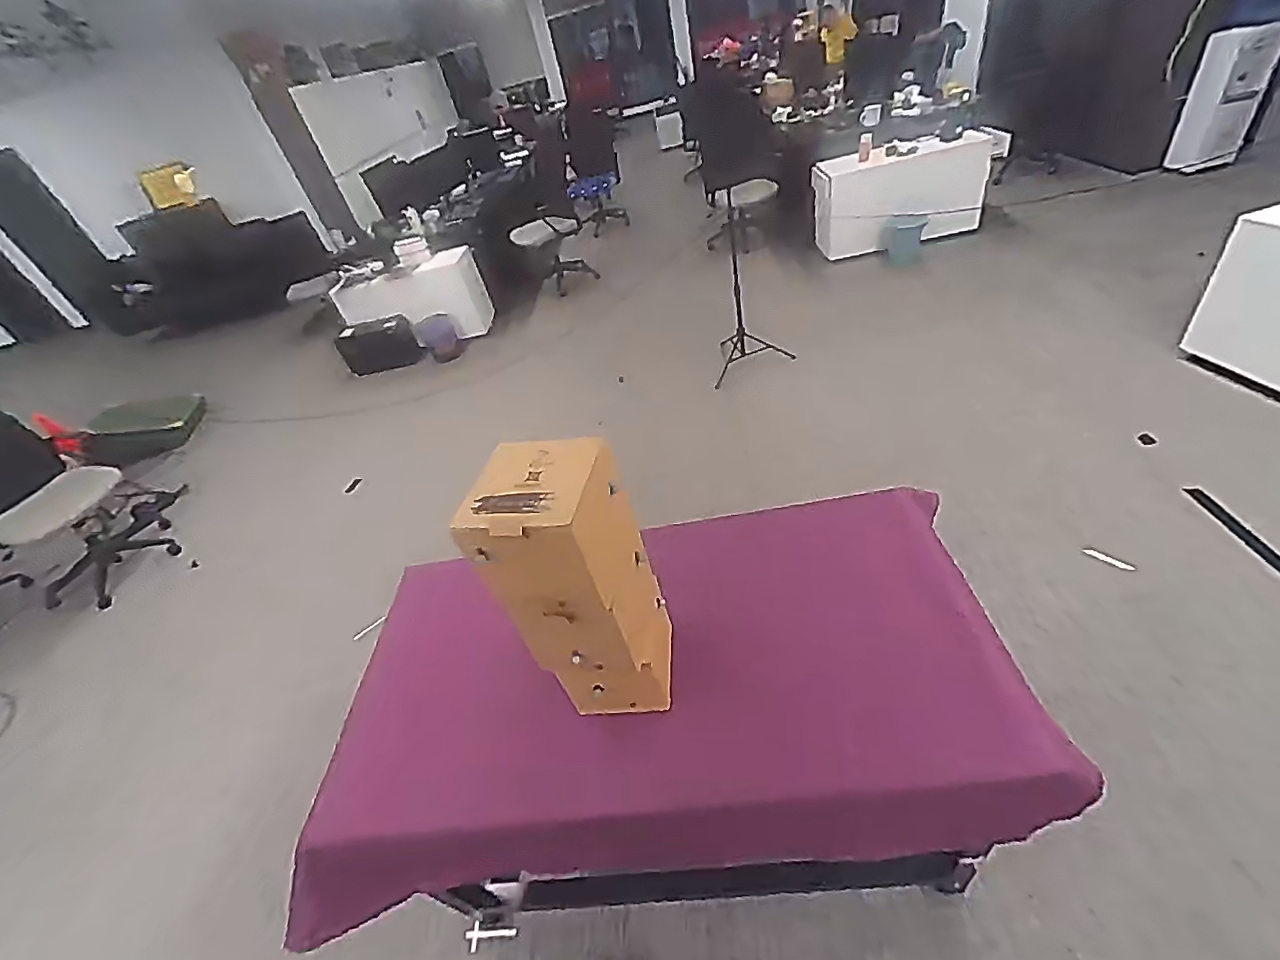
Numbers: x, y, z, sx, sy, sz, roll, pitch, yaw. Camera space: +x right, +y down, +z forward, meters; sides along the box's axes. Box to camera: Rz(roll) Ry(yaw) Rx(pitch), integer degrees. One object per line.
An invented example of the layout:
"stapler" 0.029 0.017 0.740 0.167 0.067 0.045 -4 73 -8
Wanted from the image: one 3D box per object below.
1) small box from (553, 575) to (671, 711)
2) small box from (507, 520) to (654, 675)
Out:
"small box" -0.040 0.297 0.966 0.168 0.176 0.179 -7 39 11
"small box" -0.081 0.182 0.855 0.168 0.176 0.179 -3 41 16
